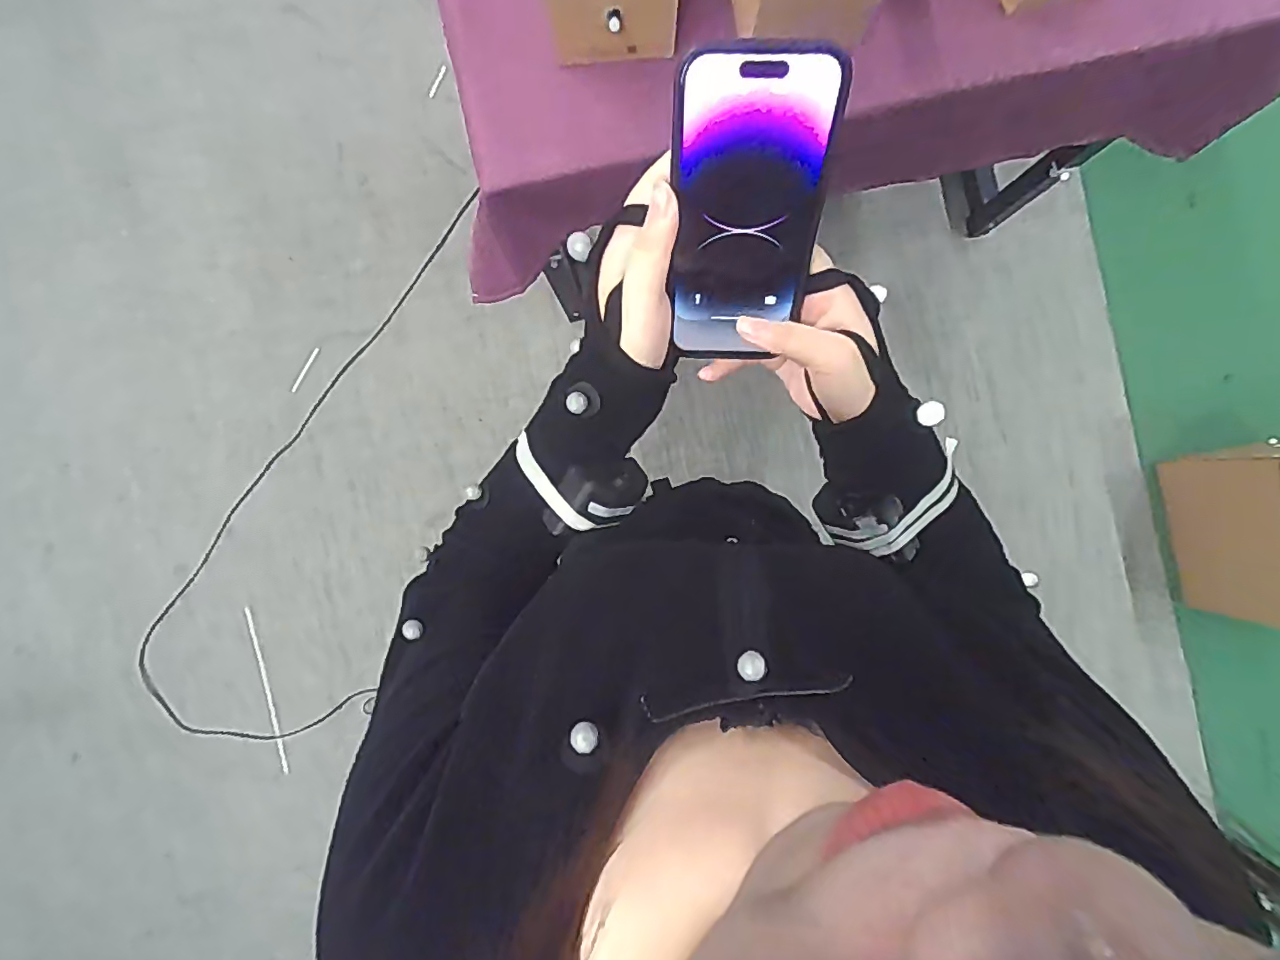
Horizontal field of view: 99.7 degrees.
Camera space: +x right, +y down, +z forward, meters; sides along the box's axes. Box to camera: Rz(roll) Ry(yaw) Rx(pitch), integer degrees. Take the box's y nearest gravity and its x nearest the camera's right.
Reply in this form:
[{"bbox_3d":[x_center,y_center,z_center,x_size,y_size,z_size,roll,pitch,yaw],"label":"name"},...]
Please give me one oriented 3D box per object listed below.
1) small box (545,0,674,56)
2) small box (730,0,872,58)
[{"bbox_3d":[-0.041,-0.683,0.689,0.168,0.176,0.179,-4,91,1],"label":"small box"},{"bbox_3d":[0.208,-0.680,0.684,0.168,0.176,0.179,-11,89,1],"label":"small box"}]
